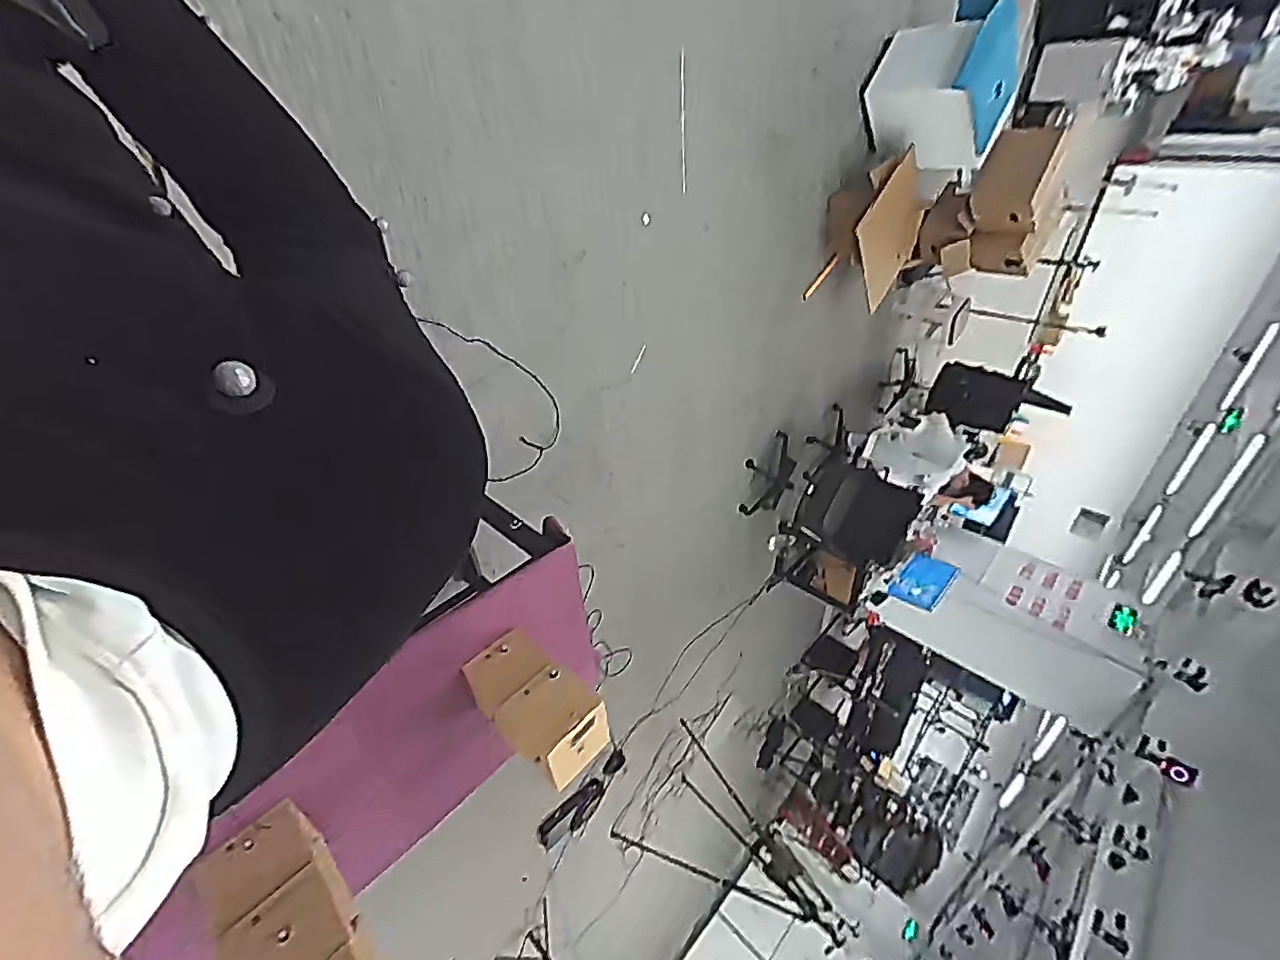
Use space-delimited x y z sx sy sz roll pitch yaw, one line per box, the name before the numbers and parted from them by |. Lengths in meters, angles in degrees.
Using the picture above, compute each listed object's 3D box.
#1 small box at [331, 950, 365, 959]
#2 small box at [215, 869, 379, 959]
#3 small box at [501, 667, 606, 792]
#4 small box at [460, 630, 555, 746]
small box | -0.466 0.885 0.833 0.168 0.176 0.179 -36 137 -34
small box | -0.583 0.823 0.929 0.168 0.176 0.179 -33 135 -35
small box | -0.199 0.563 1.249 0.168 0.176 0.179 -35 137 -35
small box | -0.319 0.511 1.347 0.168 0.176 0.179 -34 136 -35
